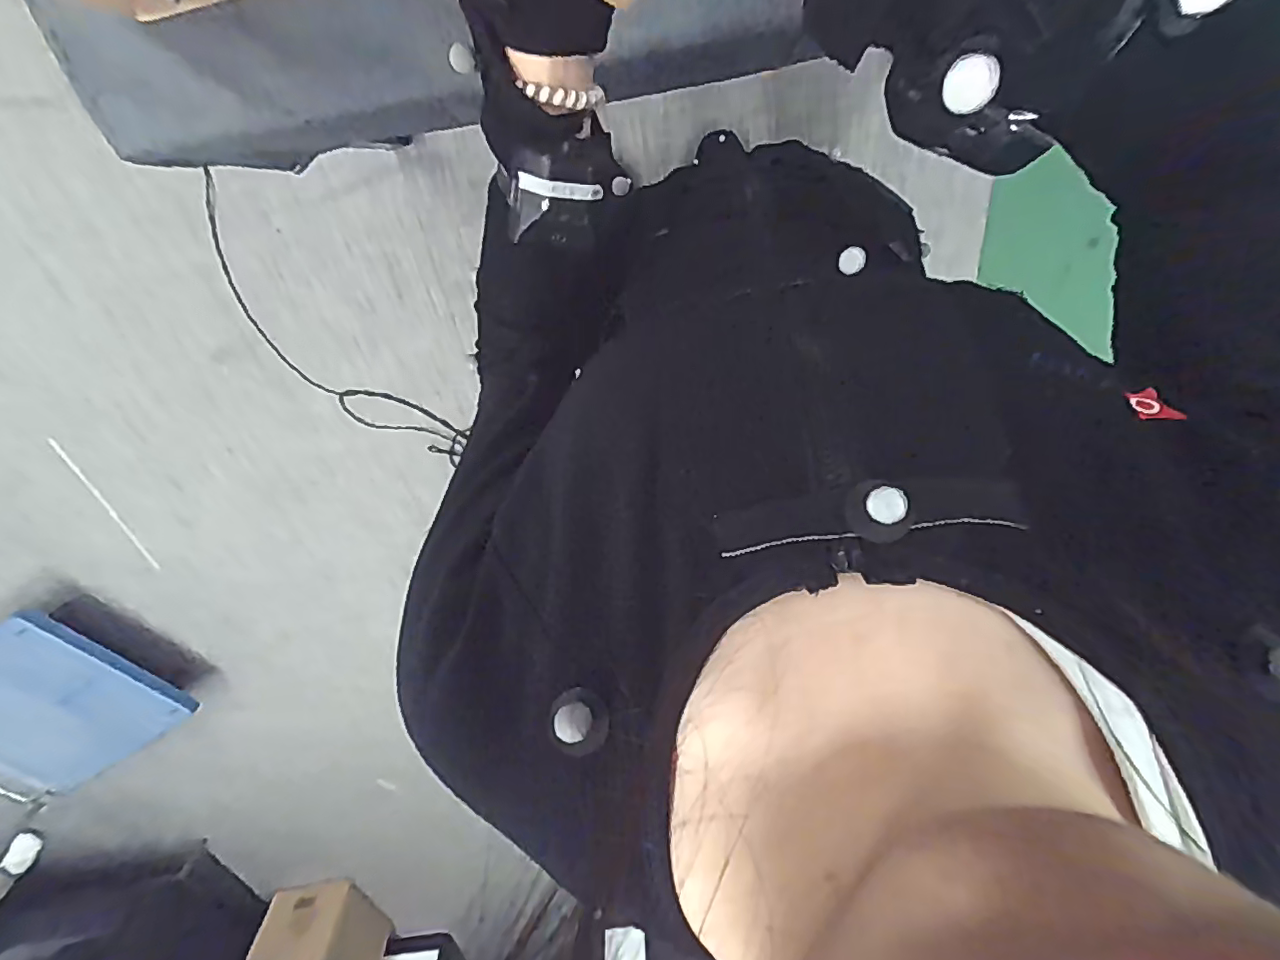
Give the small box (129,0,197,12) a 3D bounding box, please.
[{"bbox_3d":[-0.402,-0.481,0.386,0.168,0.176,0.179,-11,121,3],"label":"small box"}]
